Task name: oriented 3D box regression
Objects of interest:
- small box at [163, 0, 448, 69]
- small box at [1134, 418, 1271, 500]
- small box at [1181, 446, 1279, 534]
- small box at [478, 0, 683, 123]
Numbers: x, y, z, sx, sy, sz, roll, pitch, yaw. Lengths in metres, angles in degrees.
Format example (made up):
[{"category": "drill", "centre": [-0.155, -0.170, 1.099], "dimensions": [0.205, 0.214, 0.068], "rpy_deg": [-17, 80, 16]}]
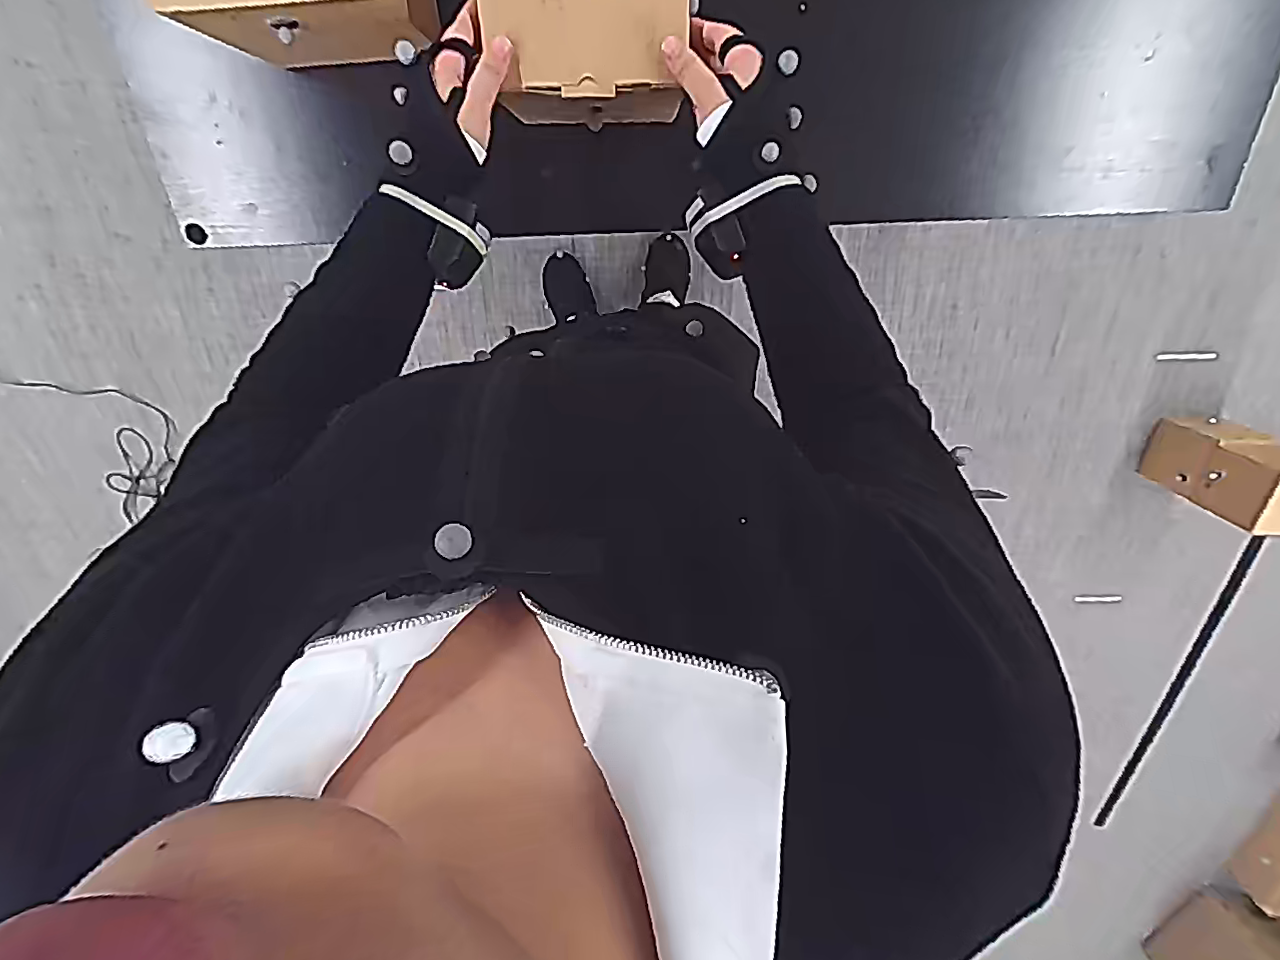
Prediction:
[{"category": "small box", "centre": [-0.290, -0.474, 0.460], "dimensions": [0.179, 0.176, 0.168], "rpy_deg": [-4, 116, 1]}, {"category": "small box", "centre": [1.517, -0.058, 1.477], "dimensions": [0.168, 0.176, 0.179], "rpy_deg": [0, 116, -1]}, {"category": "small box", "centre": [1.523, 0.019, 1.334], "dimensions": [0.179, 0.176, 0.168], "rpy_deg": [-1, 115, 1]}, {"category": "small box", "centre": [-0.045, -0.432, 0.484], "dimensions": [0.168, 0.176, 0.179], "rpy_deg": [-1, 116, 0]}]
